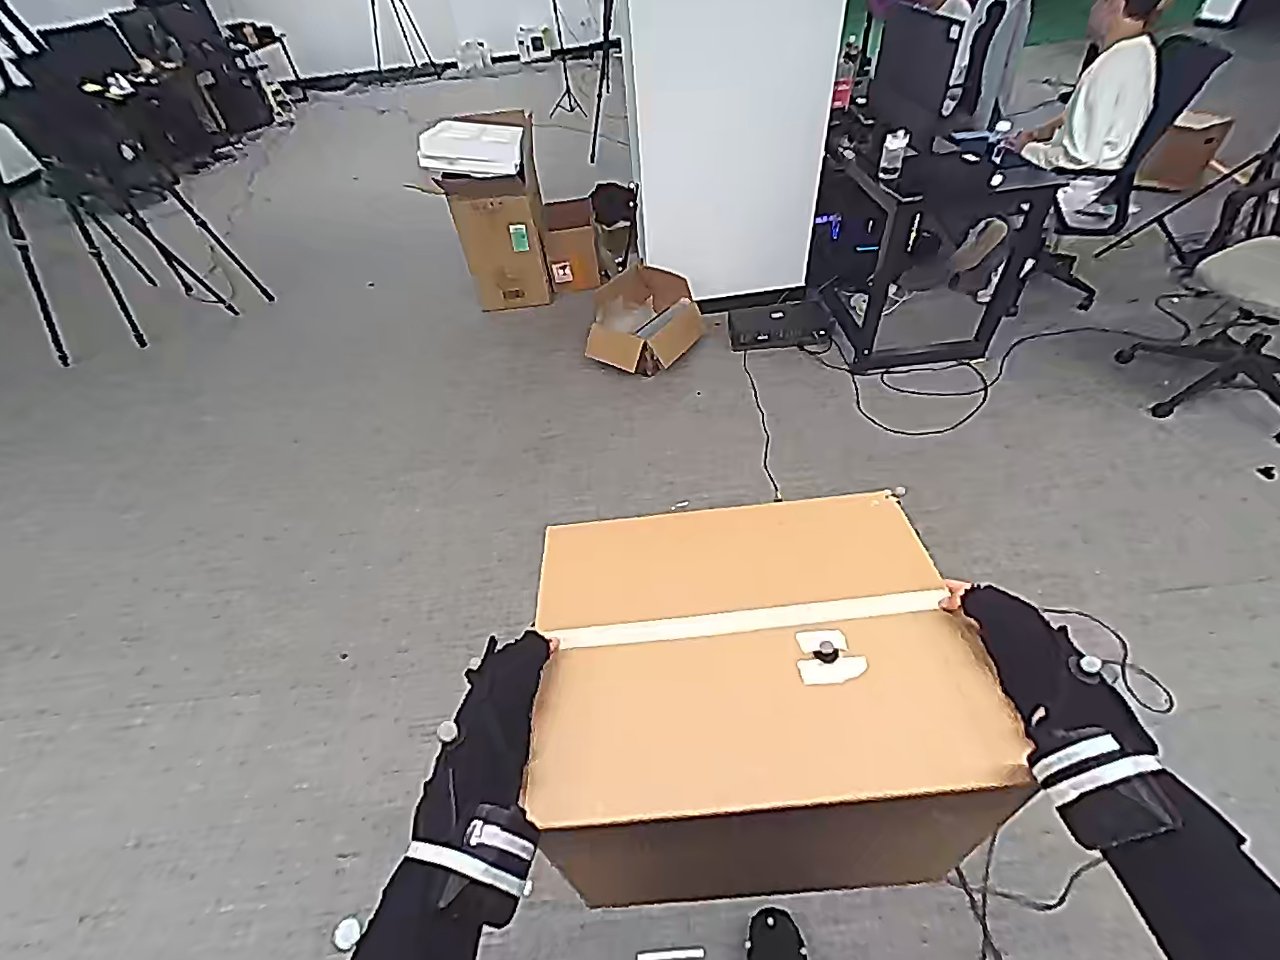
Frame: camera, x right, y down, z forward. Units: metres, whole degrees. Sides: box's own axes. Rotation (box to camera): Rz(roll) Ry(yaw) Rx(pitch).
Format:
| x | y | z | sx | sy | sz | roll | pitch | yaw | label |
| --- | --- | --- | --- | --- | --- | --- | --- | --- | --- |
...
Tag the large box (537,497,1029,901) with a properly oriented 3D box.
| x | y | z | sx | sy | sz | roll | pitch | yaw | label |
| --- | --- | --- | --- | --- | --- | --- | --- | --- | --- |
| 0.117 | 0.254 | 0.636 | 0.408 | 0.320 | 0.320 | -6 | 42 | 2 | large box |
